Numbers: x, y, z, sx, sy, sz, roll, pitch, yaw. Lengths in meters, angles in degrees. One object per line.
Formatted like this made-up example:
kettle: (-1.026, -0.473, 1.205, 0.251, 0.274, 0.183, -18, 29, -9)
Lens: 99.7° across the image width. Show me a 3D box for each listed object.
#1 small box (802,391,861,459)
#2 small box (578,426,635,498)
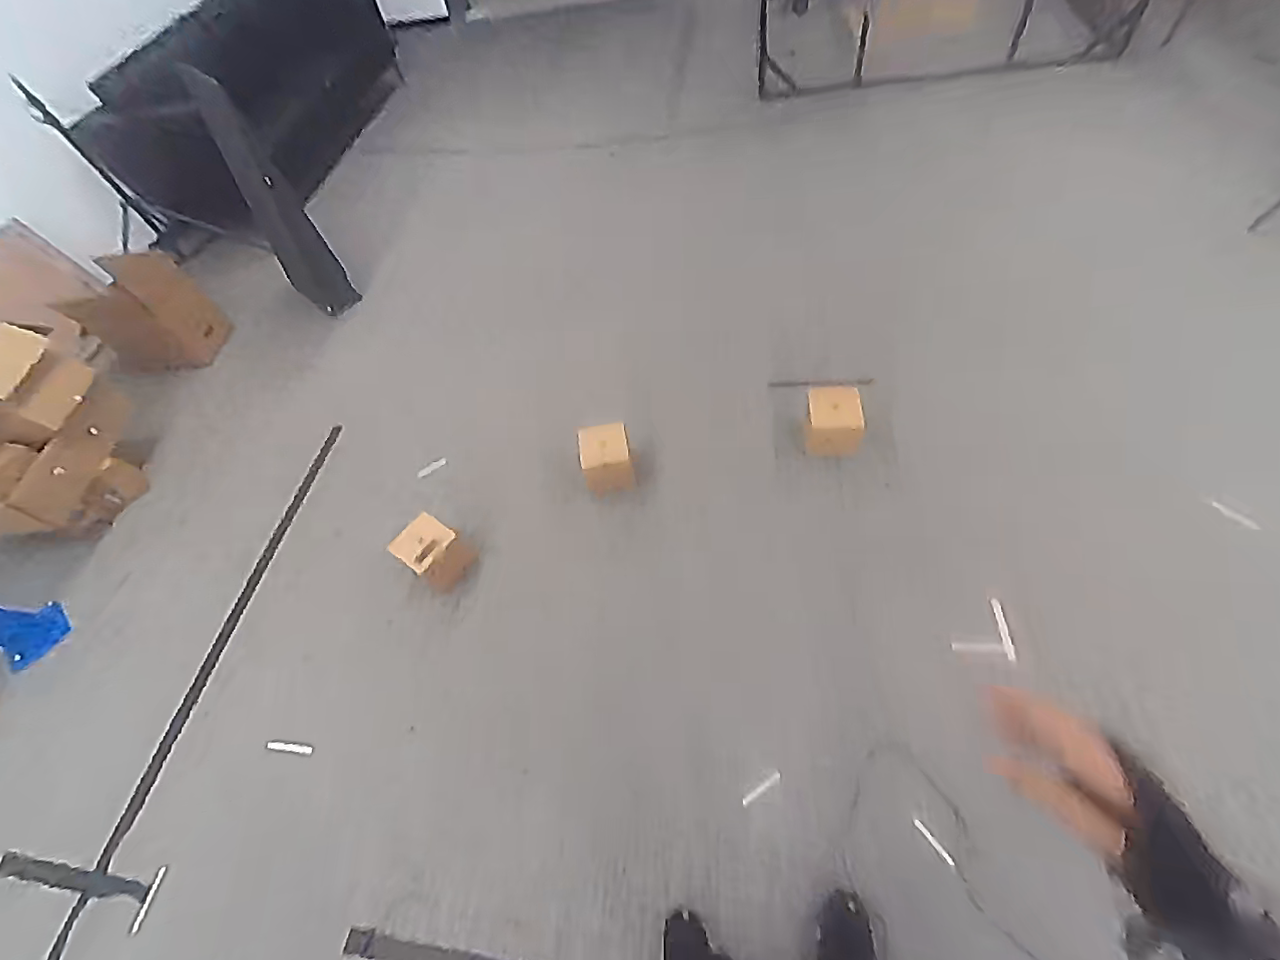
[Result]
small box: (0.656, -0.185, 1.864, 0.168, 0.176, 0.179, -1, 55, 10)
small box: (-0.117, -0.061, 1.921, 0.168, 0.176, 0.179, -11, 55, 3)
